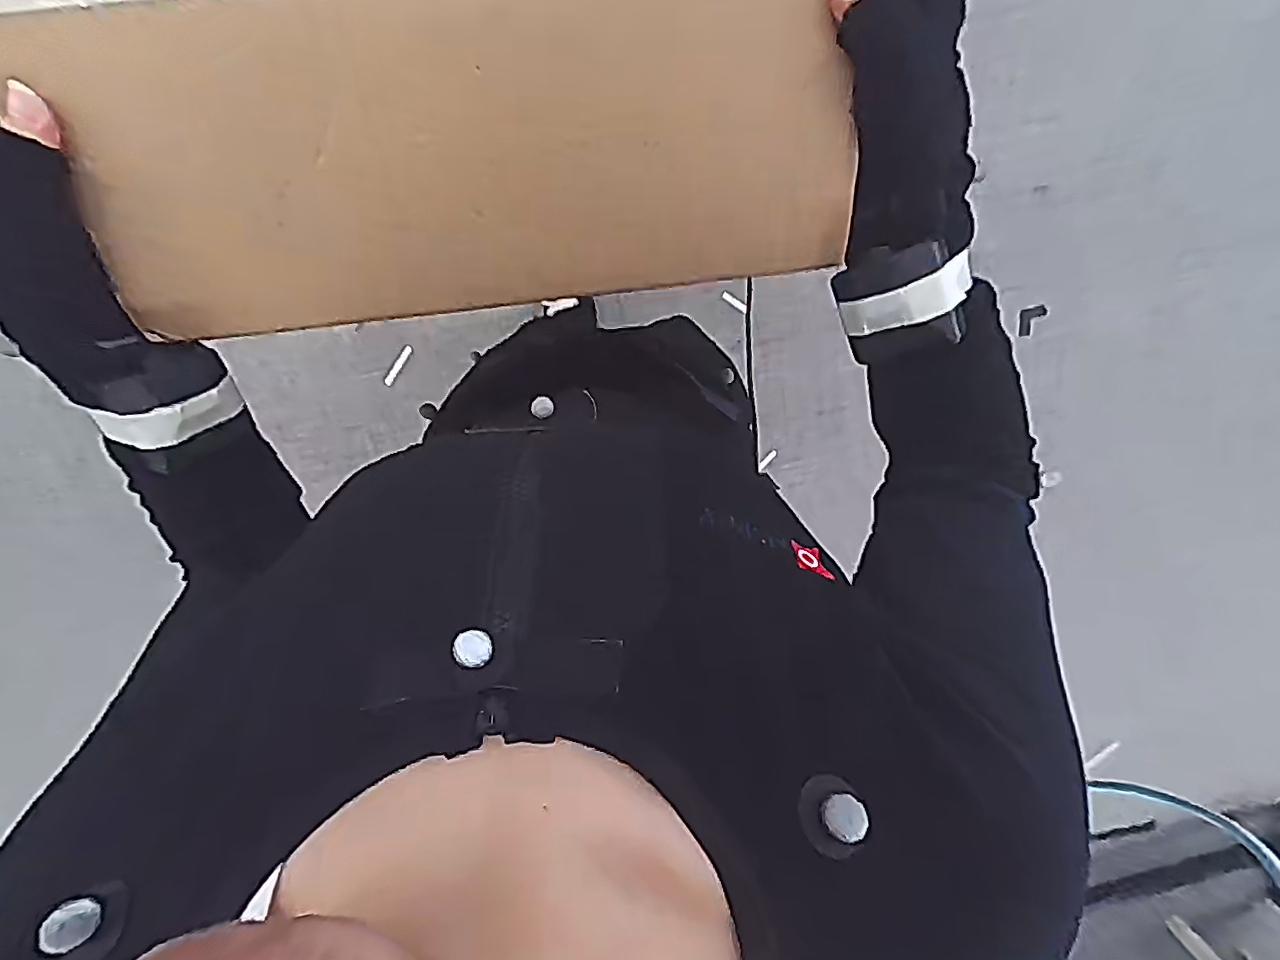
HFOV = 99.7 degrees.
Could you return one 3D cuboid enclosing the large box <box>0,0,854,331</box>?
[{"bbox_3d":[-0.109,-0.323,0.348,0.408,0.320,0.320,-7,126,-1],"label":"large box"}]
